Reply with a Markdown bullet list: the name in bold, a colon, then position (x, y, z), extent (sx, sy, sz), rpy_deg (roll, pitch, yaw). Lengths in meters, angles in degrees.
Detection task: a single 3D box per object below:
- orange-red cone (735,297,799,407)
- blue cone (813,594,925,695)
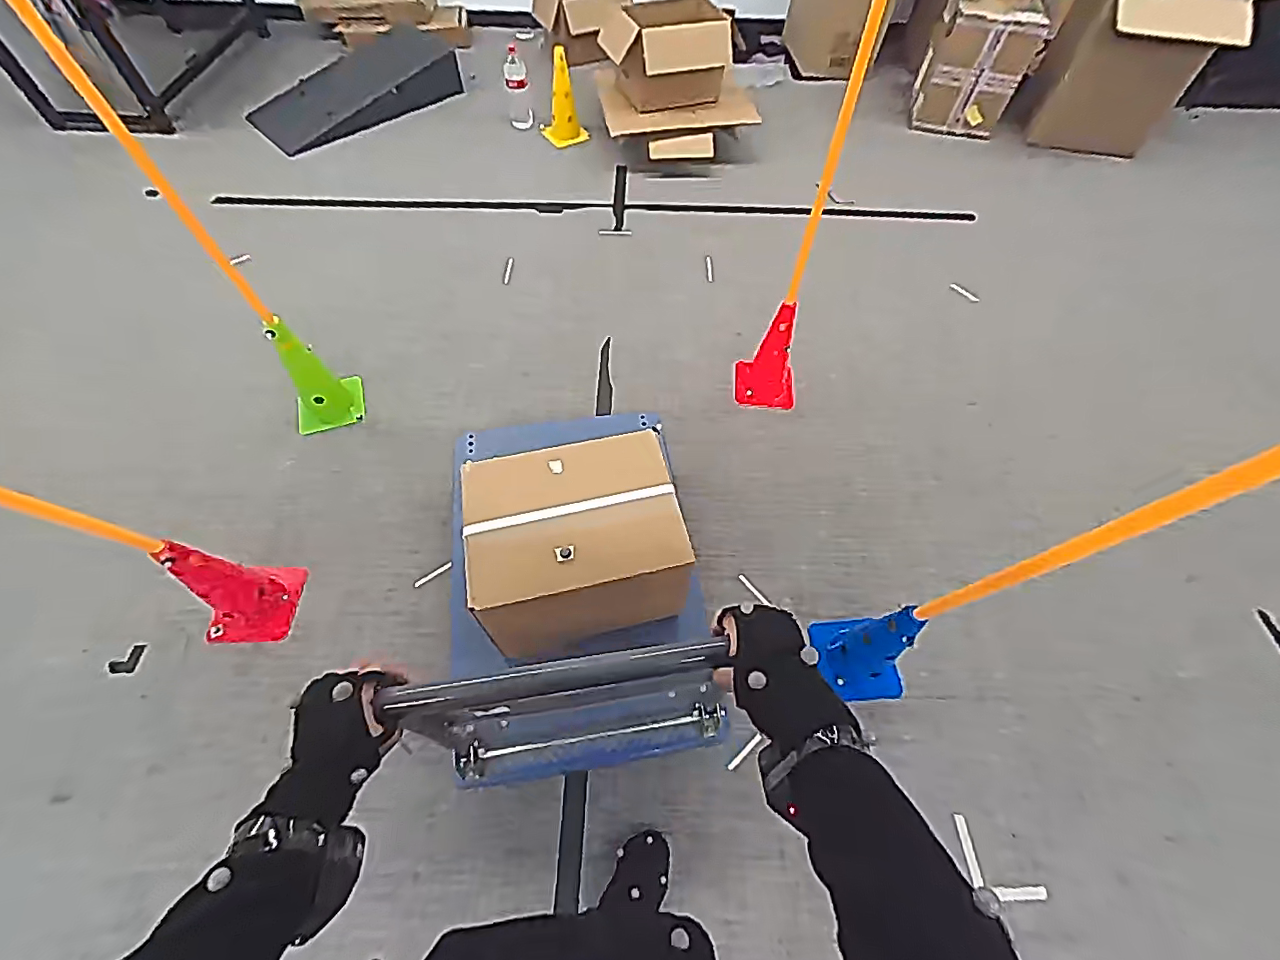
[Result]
- **orange-red cone**: position (0.434, -0.421, 1.696), extent (0.199, 0.360, 0.198), rpy_deg (7, 59, 2)
- **blue cone**: position (0.552, 0.355, 1.234), extent (0.193, 0.380, 0.192), rpy_deg (-2, 57, -3)
